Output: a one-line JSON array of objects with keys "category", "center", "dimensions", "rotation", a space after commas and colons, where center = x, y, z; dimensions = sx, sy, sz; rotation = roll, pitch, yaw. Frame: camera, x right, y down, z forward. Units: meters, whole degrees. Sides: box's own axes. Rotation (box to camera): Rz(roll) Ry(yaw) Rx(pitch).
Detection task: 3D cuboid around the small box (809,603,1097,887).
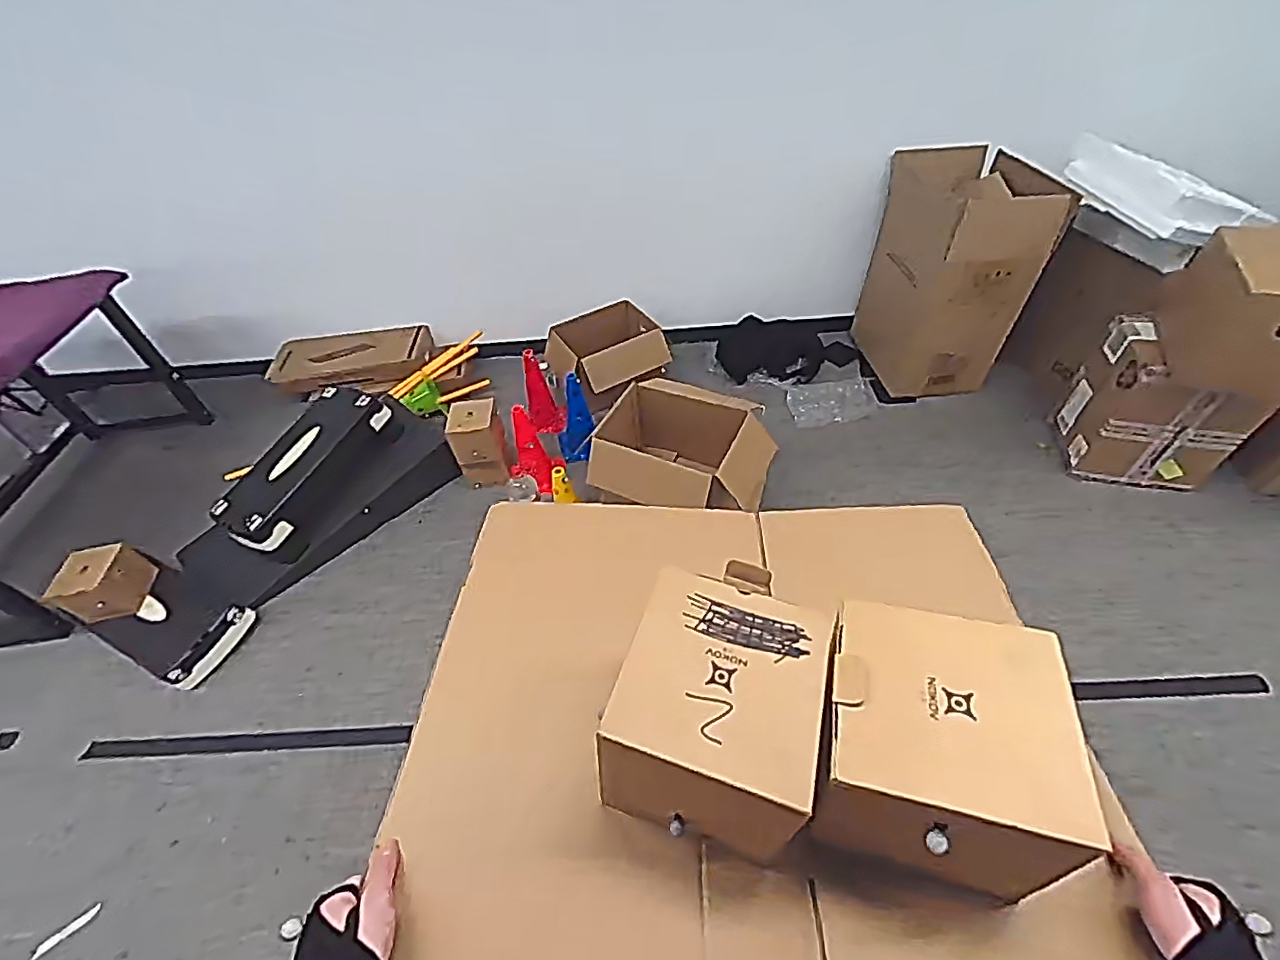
[{"category": "small box", "center": [0.259, 0.241, 0.494], "dimensions": [0.179, 0.176, 0.168], "rotation": [7, 45, 17]}]
